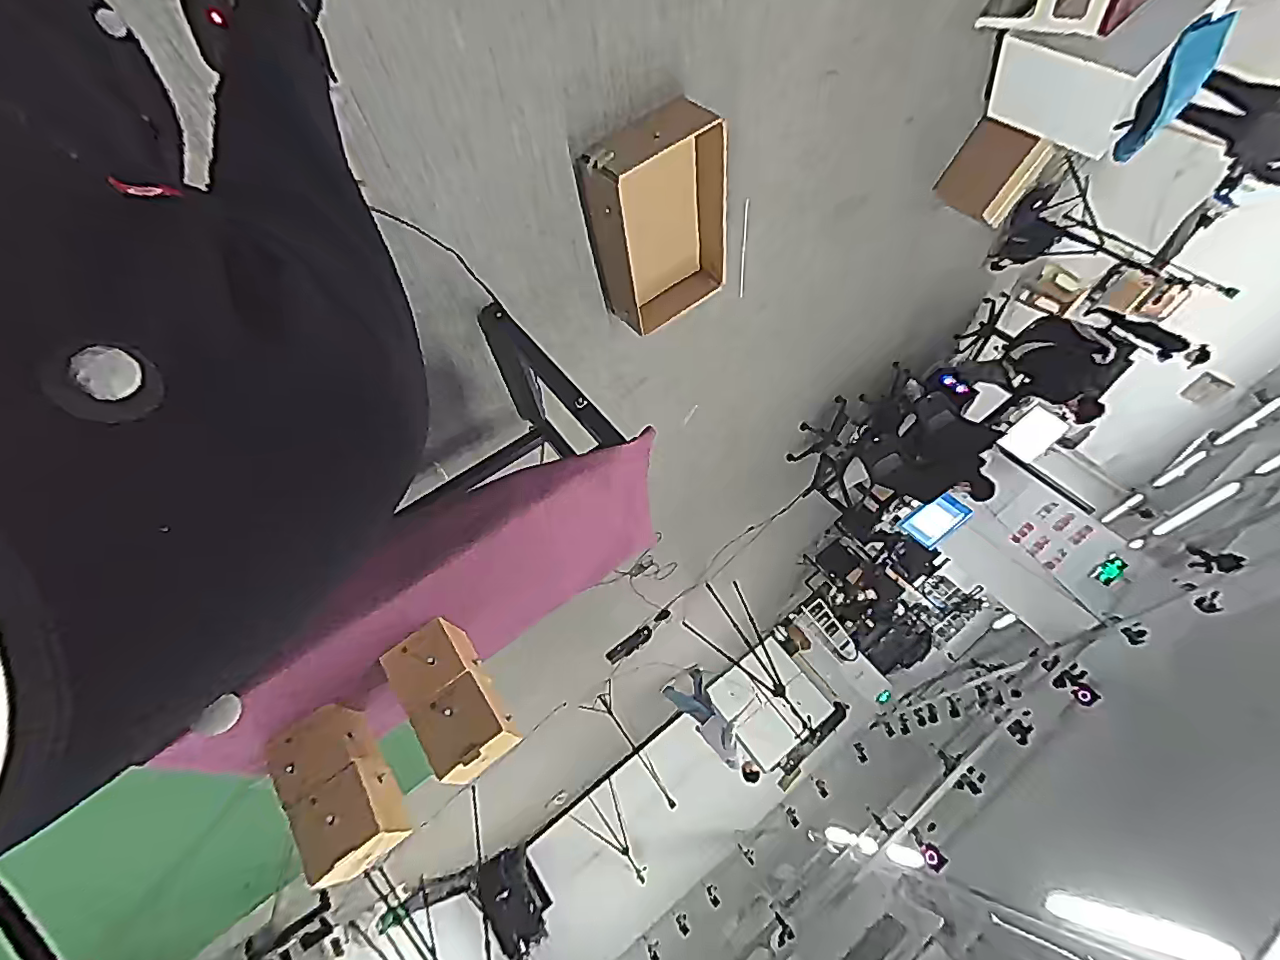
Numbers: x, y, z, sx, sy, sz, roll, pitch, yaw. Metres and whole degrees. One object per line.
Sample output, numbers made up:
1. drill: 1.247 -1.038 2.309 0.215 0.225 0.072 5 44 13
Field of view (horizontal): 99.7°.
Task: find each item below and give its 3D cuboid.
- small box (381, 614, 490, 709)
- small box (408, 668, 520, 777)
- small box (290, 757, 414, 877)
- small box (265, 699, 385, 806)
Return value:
1. small box: -0.515 0.462 1.359 0.168 0.176 0.179 -36 153 -13
2. small box: -0.417 0.576 1.290 0.168 0.176 0.179 -35 153 -16
3. small box: -0.660 0.764 1.240 0.168 0.176 0.179 -34 151 -15
4. small box: -0.763 0.659 1.313 0.168 0.176 0.179 -34 152 -15
